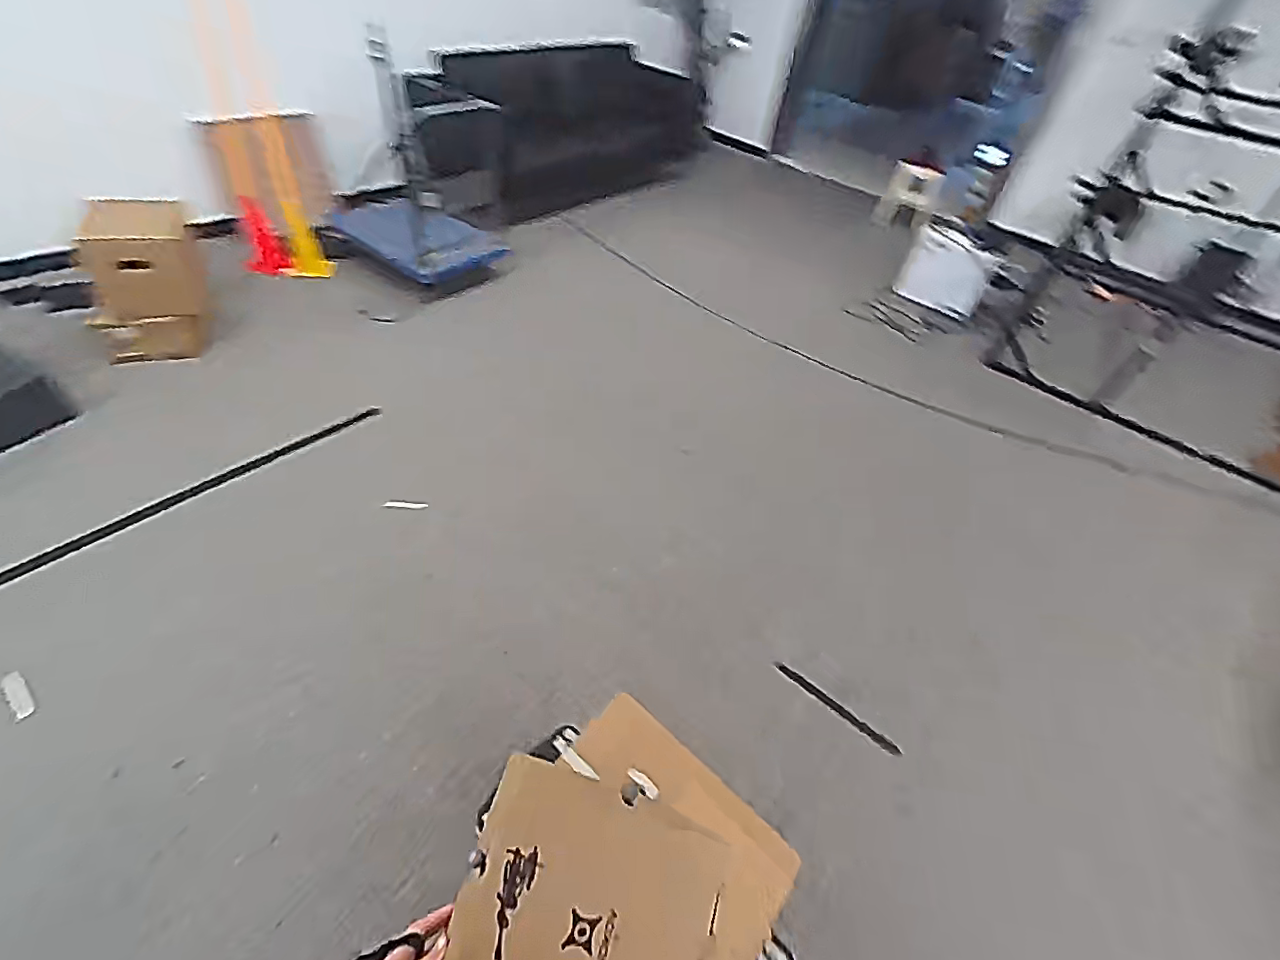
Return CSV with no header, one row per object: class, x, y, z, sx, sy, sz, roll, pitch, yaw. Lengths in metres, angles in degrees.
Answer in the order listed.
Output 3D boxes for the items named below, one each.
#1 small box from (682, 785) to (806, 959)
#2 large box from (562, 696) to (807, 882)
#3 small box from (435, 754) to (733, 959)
small box,0.090,0.570,0.744,0.168,0.176,0.179,-32,57,-32
large box,0.012,0.688,0.963,0.408,0.320,0.320,35,50,25
small box,-0.052,0.340,0.443,0.179,0.176,0.168,23,64,-7
